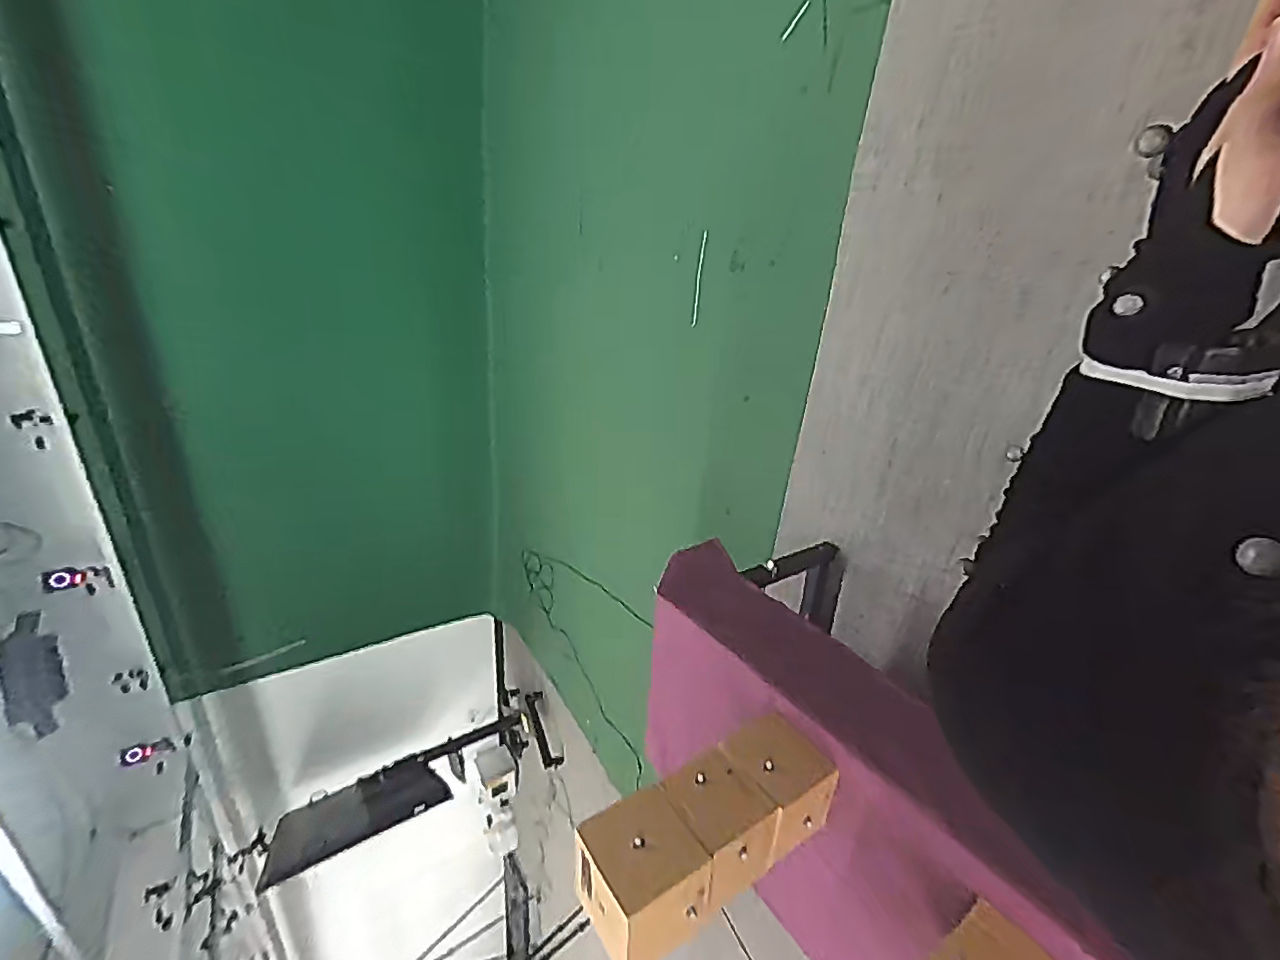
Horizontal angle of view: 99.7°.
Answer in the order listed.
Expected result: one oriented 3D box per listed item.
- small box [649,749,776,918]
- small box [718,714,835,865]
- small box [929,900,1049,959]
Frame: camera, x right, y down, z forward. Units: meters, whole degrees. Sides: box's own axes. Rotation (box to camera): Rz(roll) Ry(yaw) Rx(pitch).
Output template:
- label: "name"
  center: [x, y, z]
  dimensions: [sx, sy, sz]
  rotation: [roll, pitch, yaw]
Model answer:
- label: "small box"
  center: [0.135, 0.655, 1.025]
  dimensions: [0.168, 0.176, 0.179]
  rotation: [31, 125, 50]
- label: "small box"
  center: [0.270, 0.622, 1.110]
  dimensions: [0.179, 0.176, 0.168]
  rotation: [33, 125, 48]
- label: "small box"
  center: [0.520, 0.774, 0.782]
  dimensions: [0.179, 0.176, 0.168]
  rotation: [31, 125, 50]
